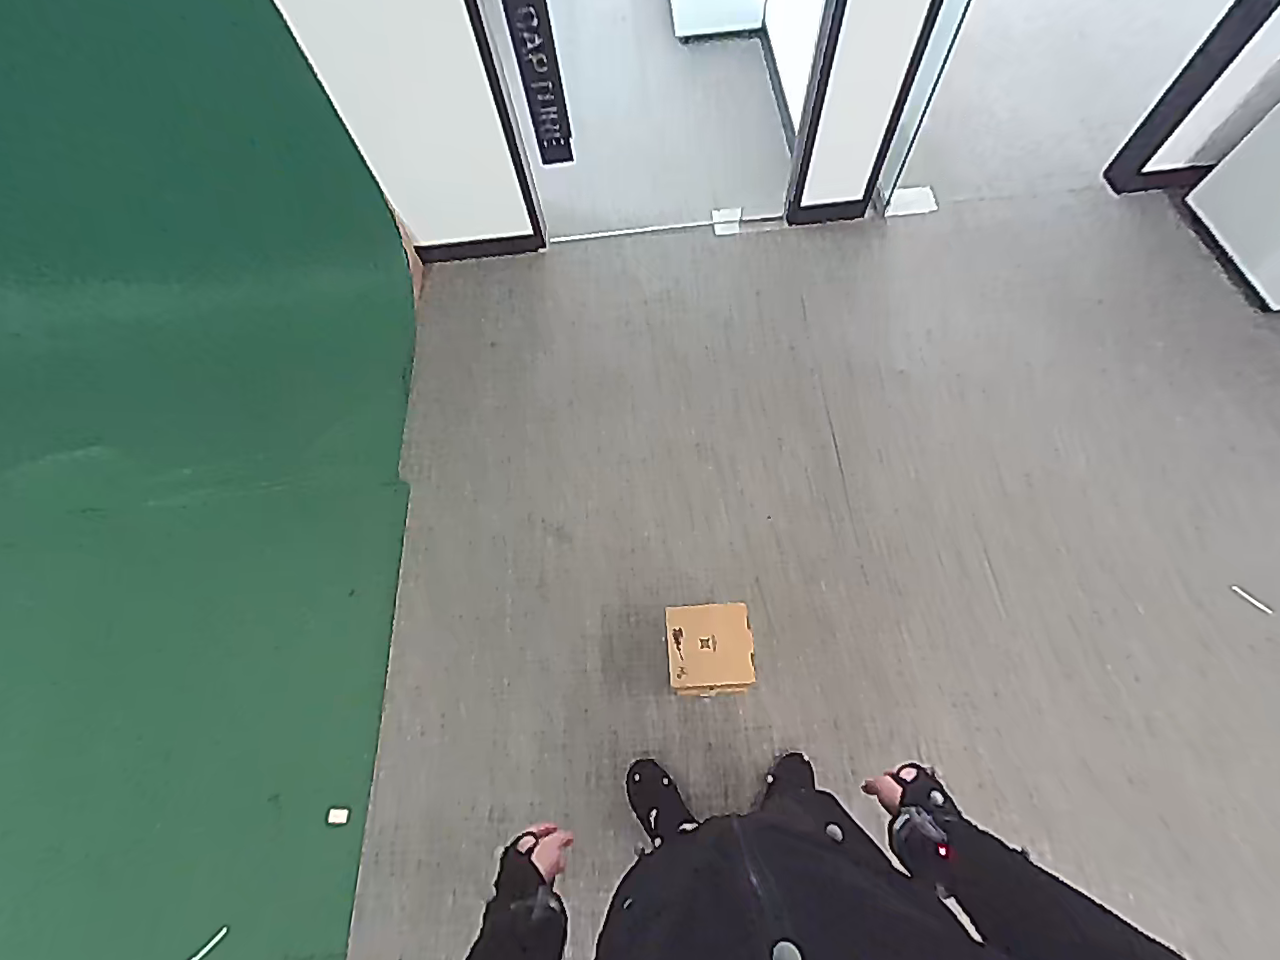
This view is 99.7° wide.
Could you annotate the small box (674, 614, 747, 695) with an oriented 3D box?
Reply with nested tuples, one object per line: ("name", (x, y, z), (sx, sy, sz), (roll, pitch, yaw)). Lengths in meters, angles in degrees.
("small box", (0.170, 0.437, 1.344), (0.168, 0.176, 0.179), (-3, 66, 6))
